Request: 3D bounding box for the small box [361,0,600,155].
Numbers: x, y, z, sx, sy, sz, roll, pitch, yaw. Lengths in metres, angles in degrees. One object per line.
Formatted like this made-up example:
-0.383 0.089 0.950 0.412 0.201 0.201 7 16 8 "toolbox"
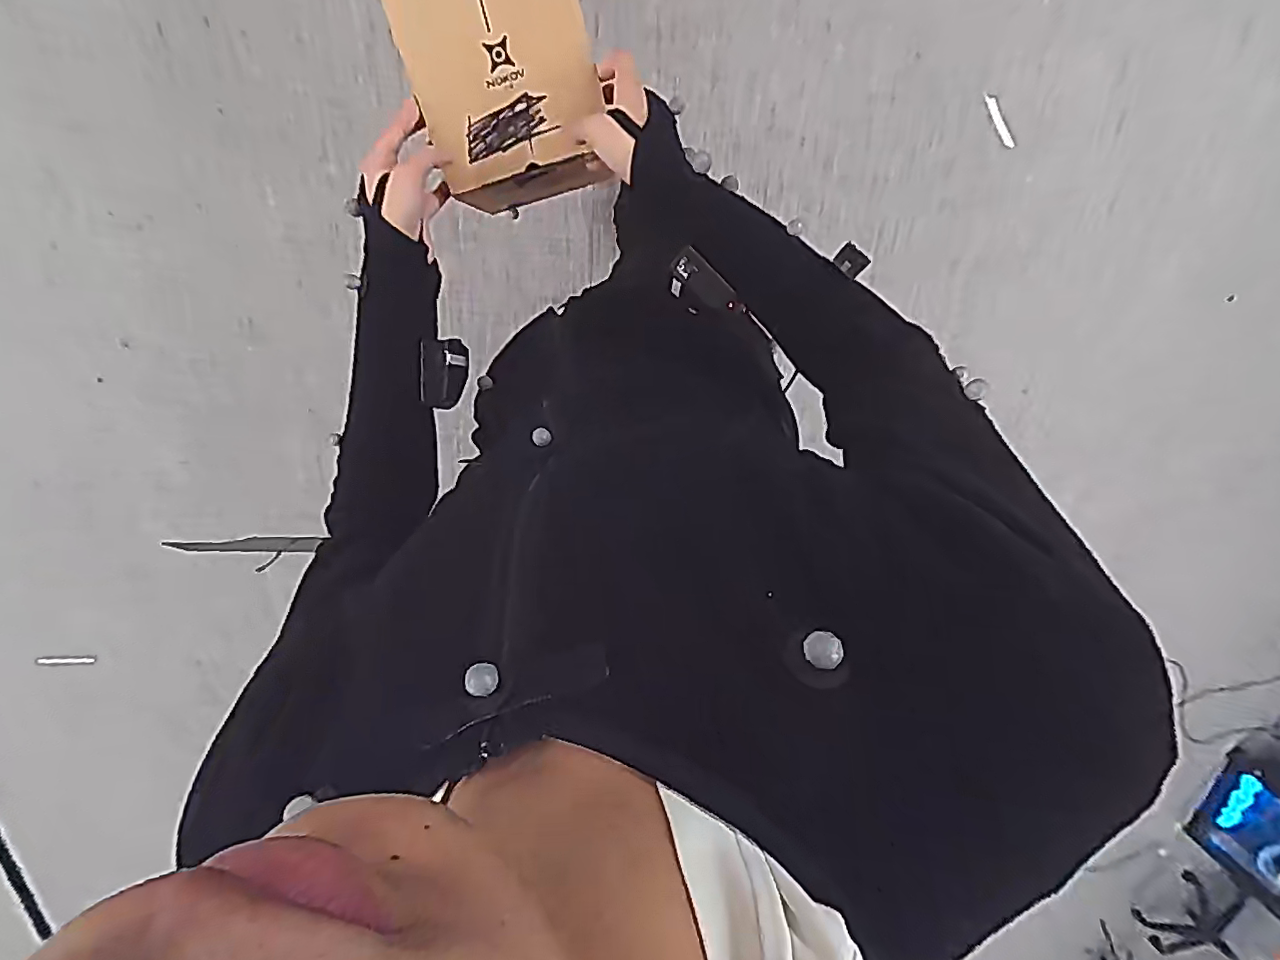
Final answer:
-0.136 -0.414 0.484 0.168 0.176 0.179 -15 111 4 "small box"
